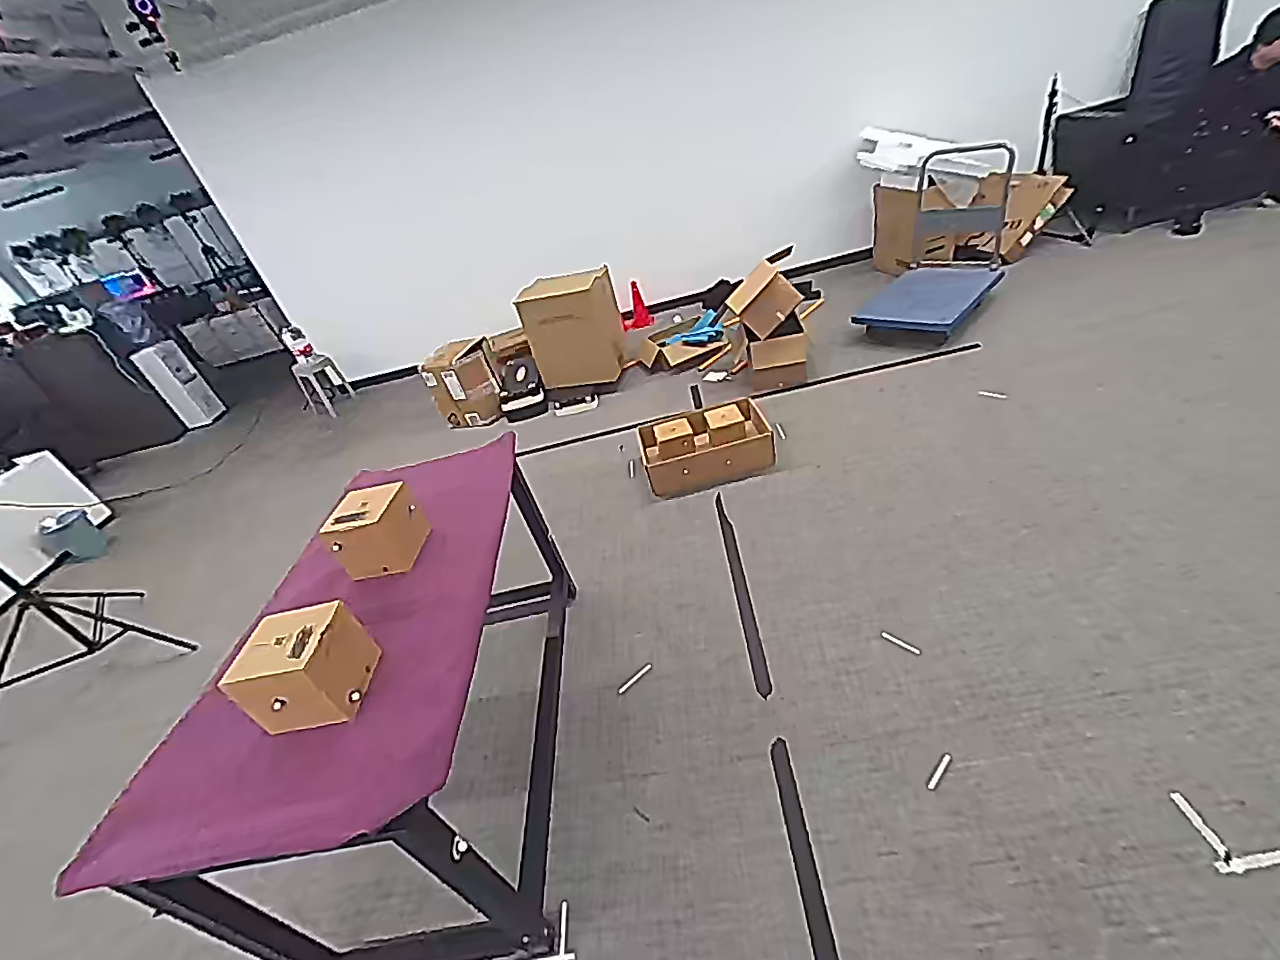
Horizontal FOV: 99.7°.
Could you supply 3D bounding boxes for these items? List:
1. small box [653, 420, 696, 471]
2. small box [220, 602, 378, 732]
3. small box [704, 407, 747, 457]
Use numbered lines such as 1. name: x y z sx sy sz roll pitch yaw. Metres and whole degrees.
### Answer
1. small box: 0.177 -0.171 2.707 0.179 0.176 0.168 -15 33 0
2. small box: -0.660 0.374 1.076 0.179 0.176 0.168 -13 34 6
3. small box: 0.428 -0.237 2.699 0.168 0.176 0.179 -16 34 3
